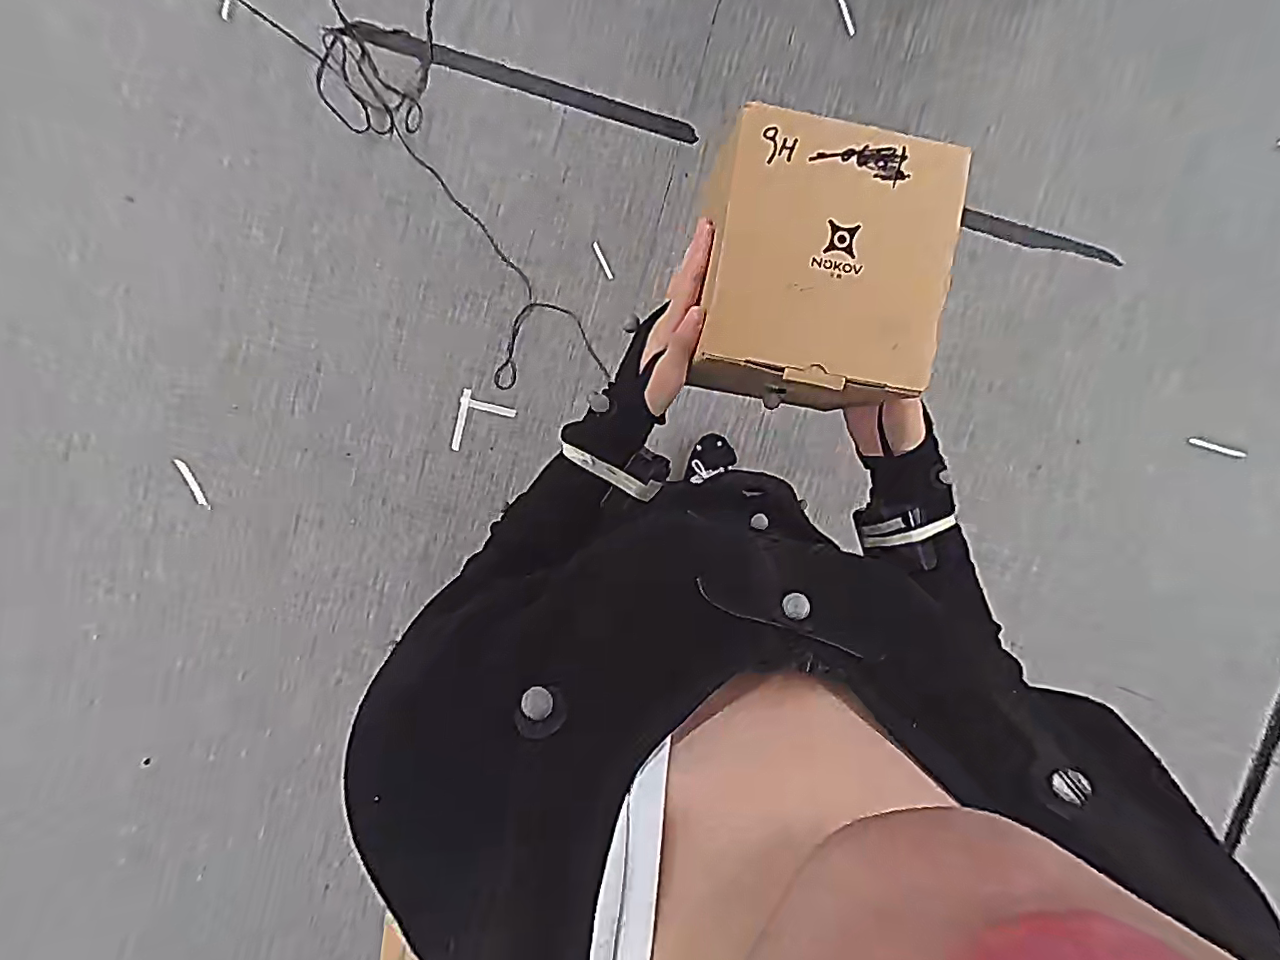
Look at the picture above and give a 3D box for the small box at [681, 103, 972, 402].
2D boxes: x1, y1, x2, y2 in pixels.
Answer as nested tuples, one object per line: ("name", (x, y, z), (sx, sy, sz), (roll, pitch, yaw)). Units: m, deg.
("small box", (0.135, -0.167, 0.461), (0.168, 0.176, 0.179), (9, 94, -5))
